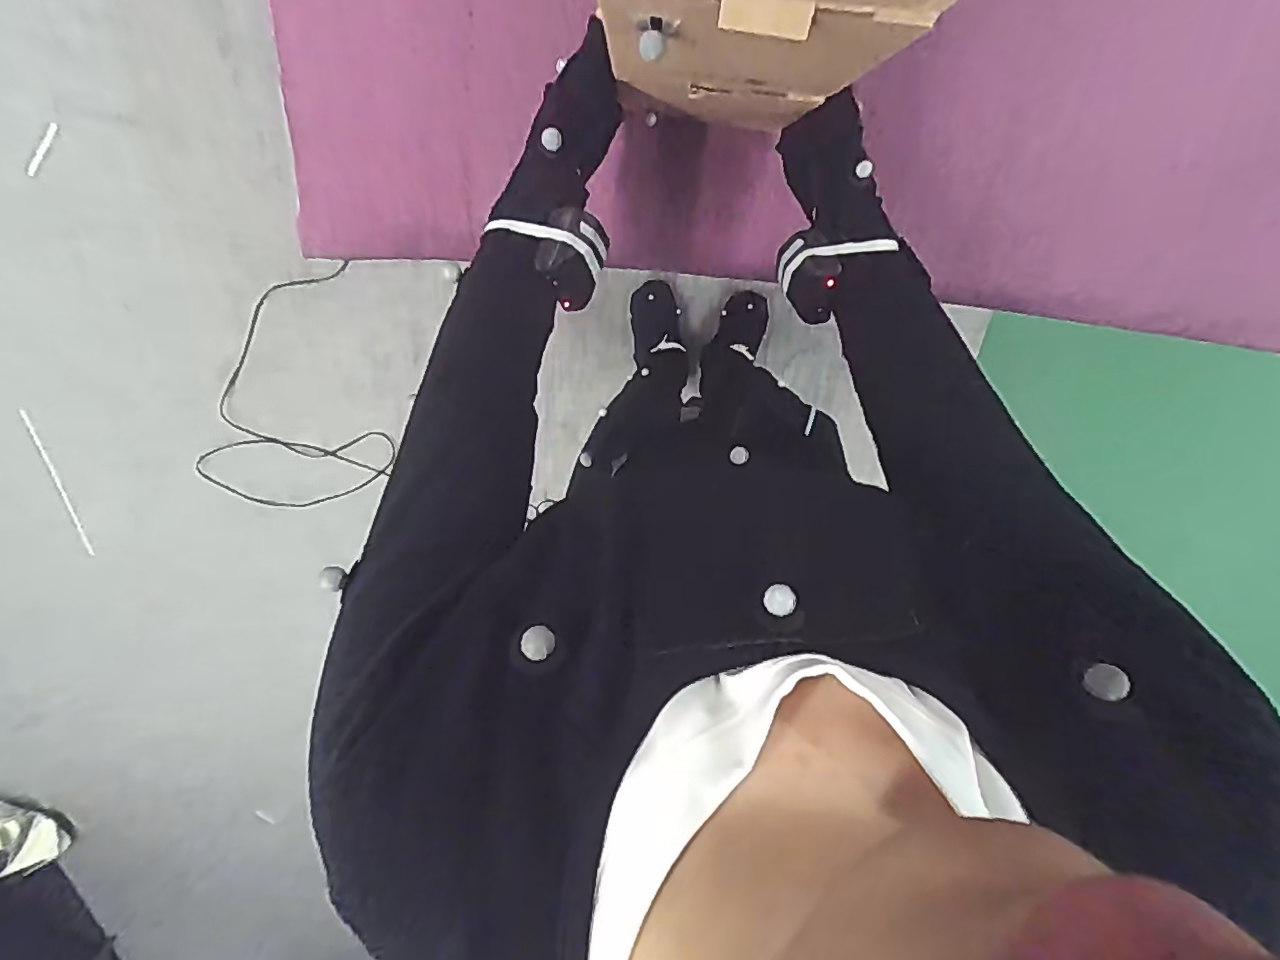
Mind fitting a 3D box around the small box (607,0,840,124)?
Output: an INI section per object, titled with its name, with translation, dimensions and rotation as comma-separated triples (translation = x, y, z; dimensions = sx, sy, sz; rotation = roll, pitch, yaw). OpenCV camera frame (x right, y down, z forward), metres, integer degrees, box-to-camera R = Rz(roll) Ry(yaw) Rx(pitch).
[small box]
translation = 0.068, -0.413, 0.444
dimensions = 0.168, 0.176, 0.179
rotation = 7, 115, -3
